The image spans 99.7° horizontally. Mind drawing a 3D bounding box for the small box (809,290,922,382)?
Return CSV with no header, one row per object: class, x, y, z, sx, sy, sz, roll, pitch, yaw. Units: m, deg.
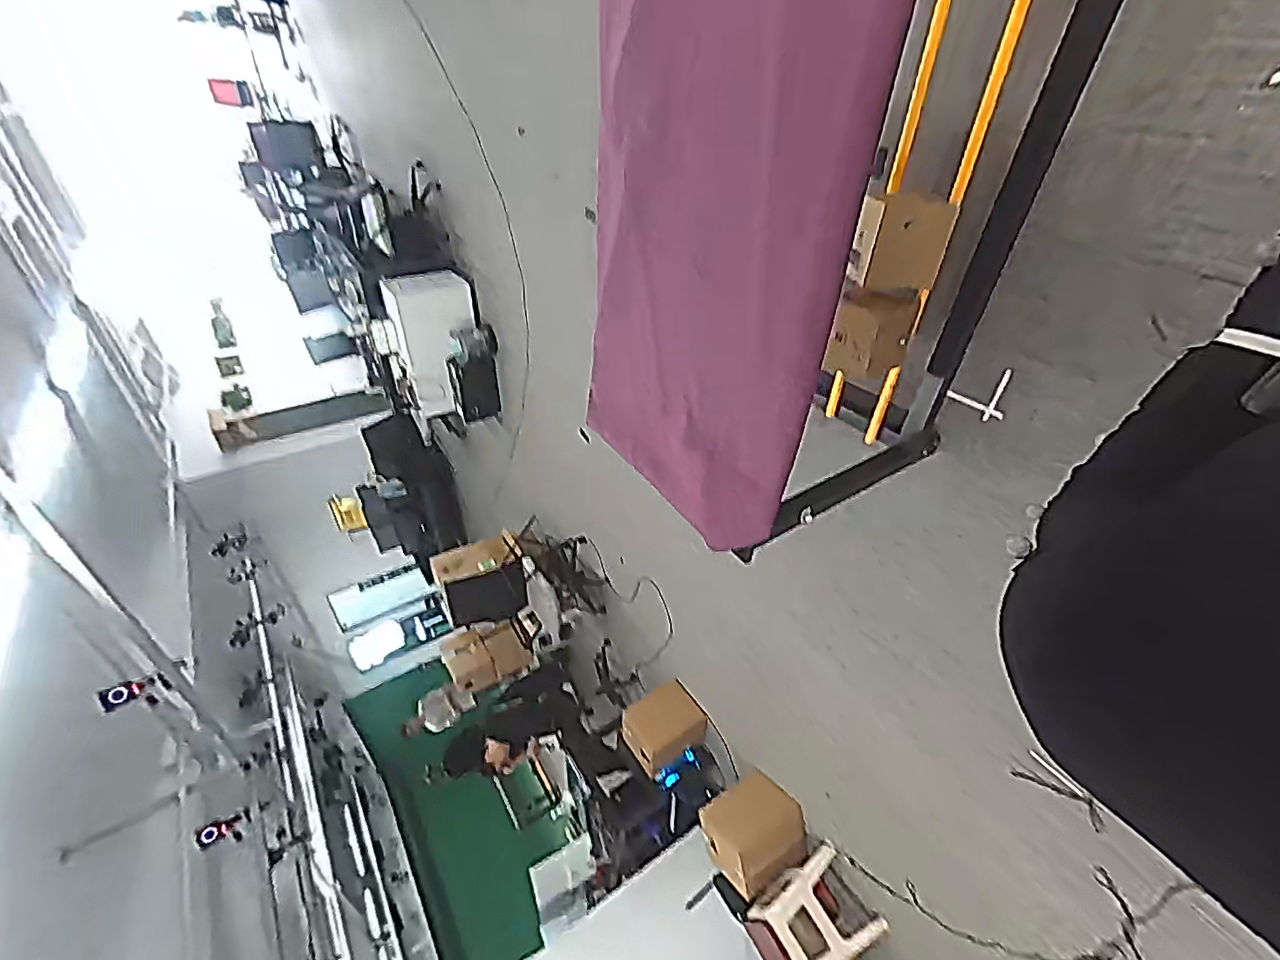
small box,0.557,-0.366,1.347,0.179,0.176,0.168,39,140,41
